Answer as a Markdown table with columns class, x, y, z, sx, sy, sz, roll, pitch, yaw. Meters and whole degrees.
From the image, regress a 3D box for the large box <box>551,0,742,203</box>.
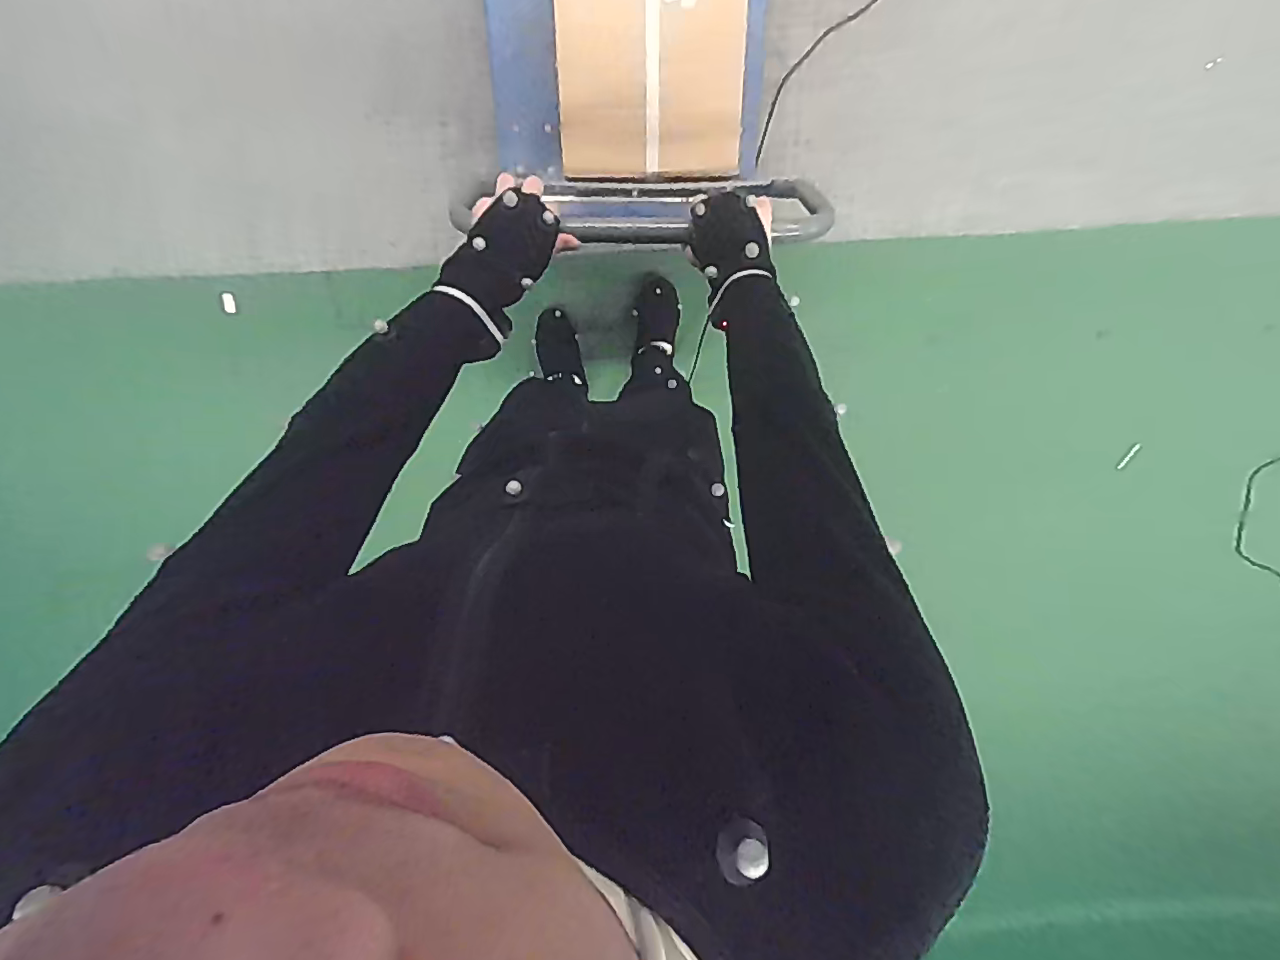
| class | x | y | z | sx | sy | sz | roll | pitch | yaw |
| --- | --- | --- | --- | --- | --- | --- | --- | --- | --- |
| large box | 0.008 | -0.772 | 1.037 | 0.320 | 0.320 | 0.408 | -2 | 113 | -3 |
